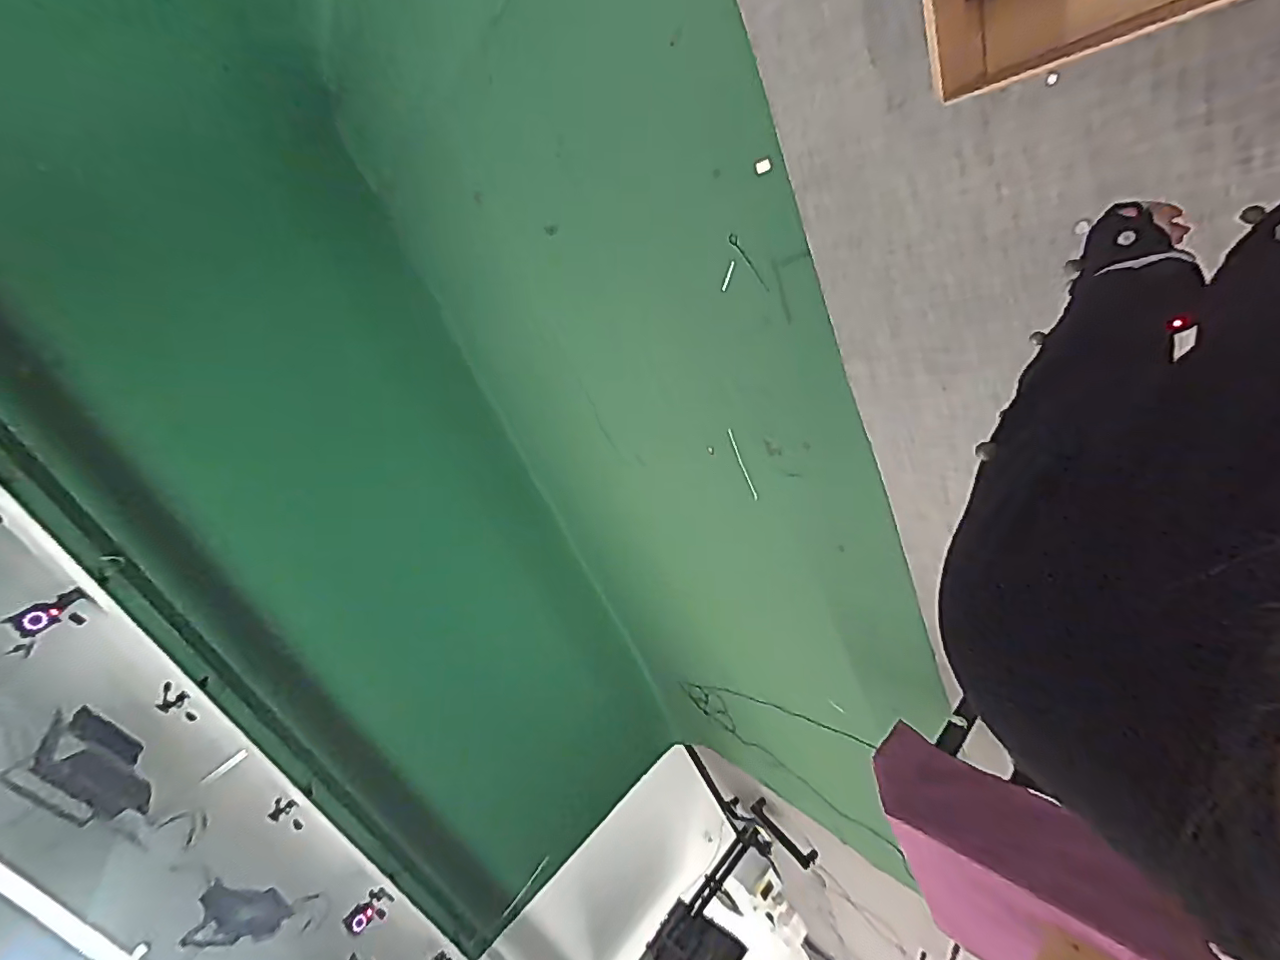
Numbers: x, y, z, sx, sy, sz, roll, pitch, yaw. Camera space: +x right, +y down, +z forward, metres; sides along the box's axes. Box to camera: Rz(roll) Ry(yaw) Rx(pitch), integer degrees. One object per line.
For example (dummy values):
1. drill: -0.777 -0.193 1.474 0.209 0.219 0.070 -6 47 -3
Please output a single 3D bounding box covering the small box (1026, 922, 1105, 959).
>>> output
1. small box: 1.021 1.205 1.269 0.168 0.176 0.179 1 123 56
